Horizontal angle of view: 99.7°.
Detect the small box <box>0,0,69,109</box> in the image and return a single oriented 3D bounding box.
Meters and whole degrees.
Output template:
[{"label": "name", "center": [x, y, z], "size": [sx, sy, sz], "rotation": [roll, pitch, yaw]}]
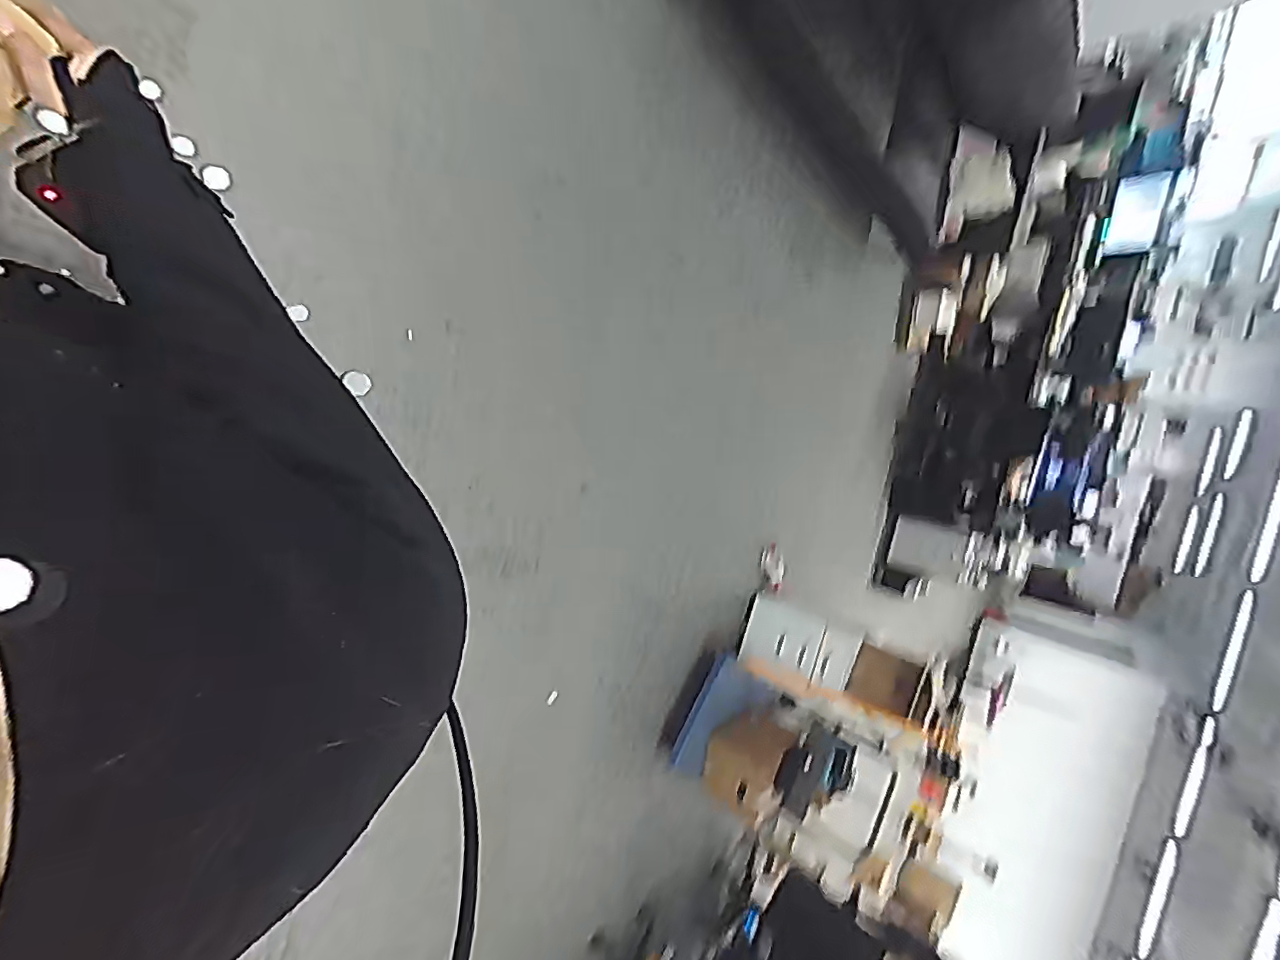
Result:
[{"label": "small box", "center": [-0.568, -0.361, 0.375], "size": [0.168, 0.176, 0.179], "rotation": [-43, 151, -1]}]
